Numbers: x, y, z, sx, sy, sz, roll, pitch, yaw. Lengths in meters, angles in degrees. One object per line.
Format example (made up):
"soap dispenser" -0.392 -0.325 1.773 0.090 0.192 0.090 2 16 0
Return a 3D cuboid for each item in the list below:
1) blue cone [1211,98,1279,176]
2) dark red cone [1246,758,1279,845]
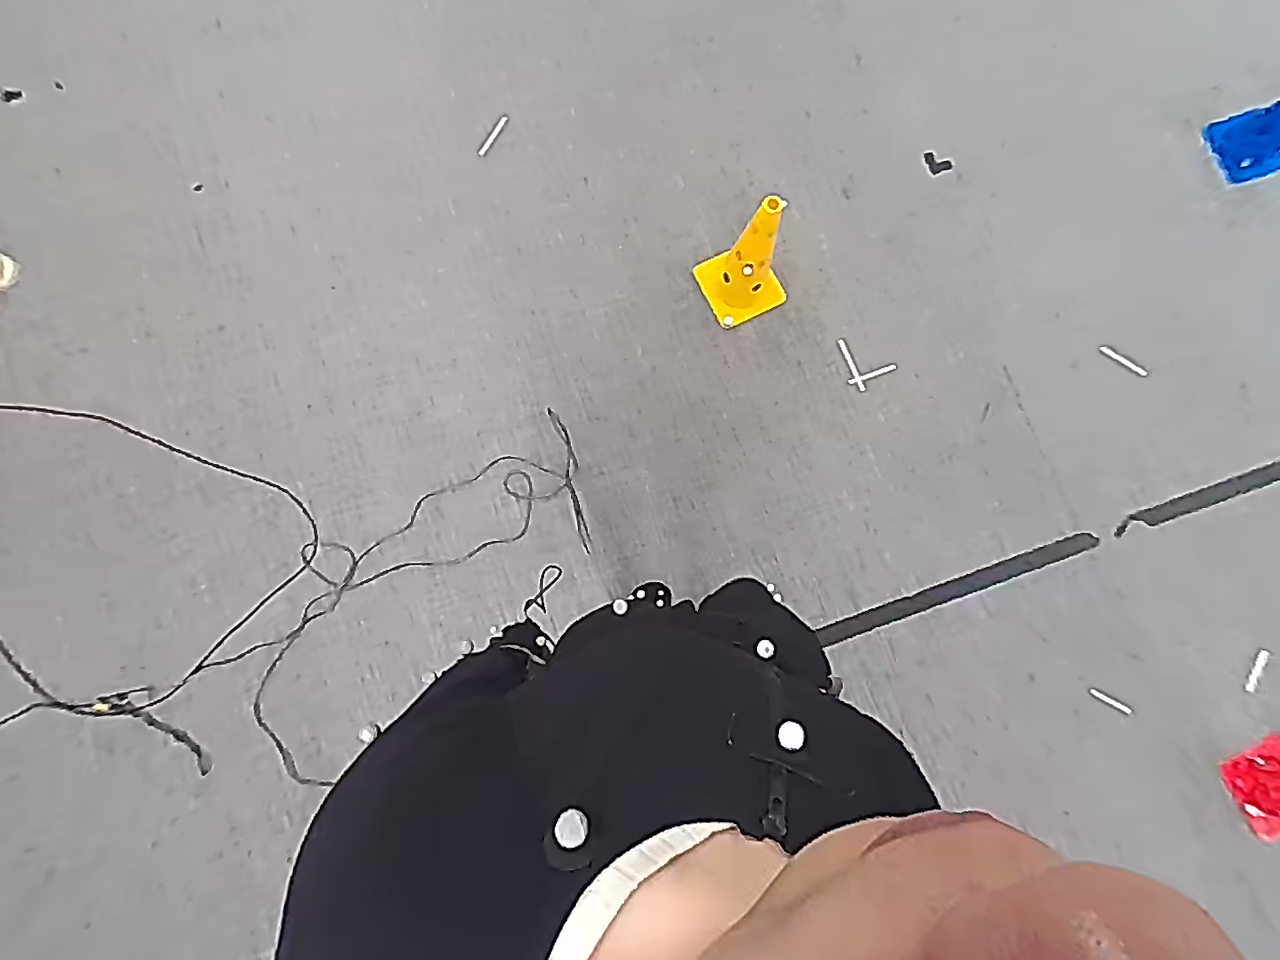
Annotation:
"blue cone" 1.752 -0.992 1.384 0.193 0.380 0.192 -19 82 -3
"dark red cone" 1.572 0.741 1.126 0.202 0.394 0.201 -27 83 -4
